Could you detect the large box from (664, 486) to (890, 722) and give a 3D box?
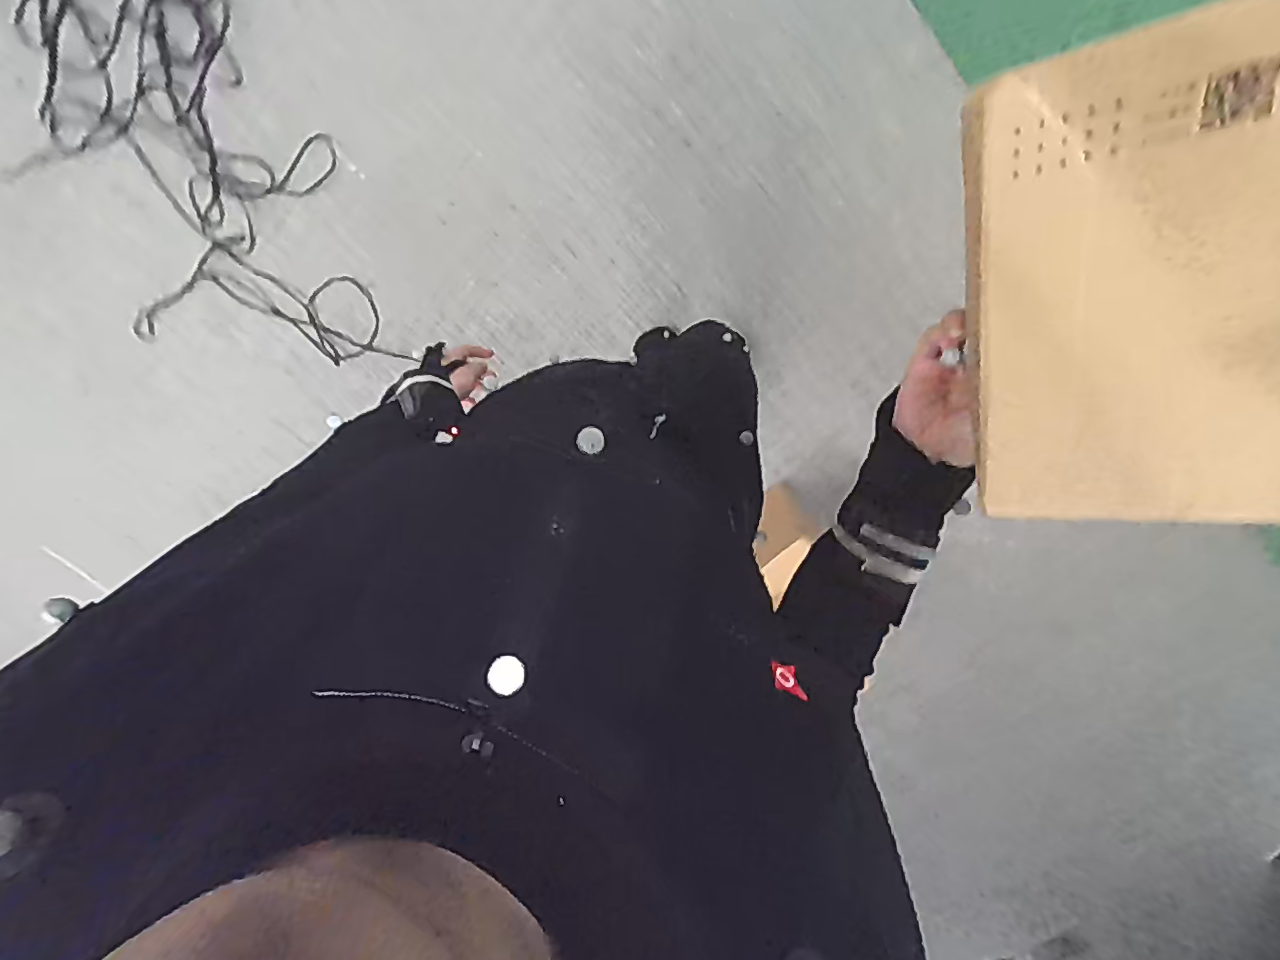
[{"bbox_3d":[0.309,0.291,1.322,0.320,0.320,0.408,43,110,-11],"label":"large box"}]
